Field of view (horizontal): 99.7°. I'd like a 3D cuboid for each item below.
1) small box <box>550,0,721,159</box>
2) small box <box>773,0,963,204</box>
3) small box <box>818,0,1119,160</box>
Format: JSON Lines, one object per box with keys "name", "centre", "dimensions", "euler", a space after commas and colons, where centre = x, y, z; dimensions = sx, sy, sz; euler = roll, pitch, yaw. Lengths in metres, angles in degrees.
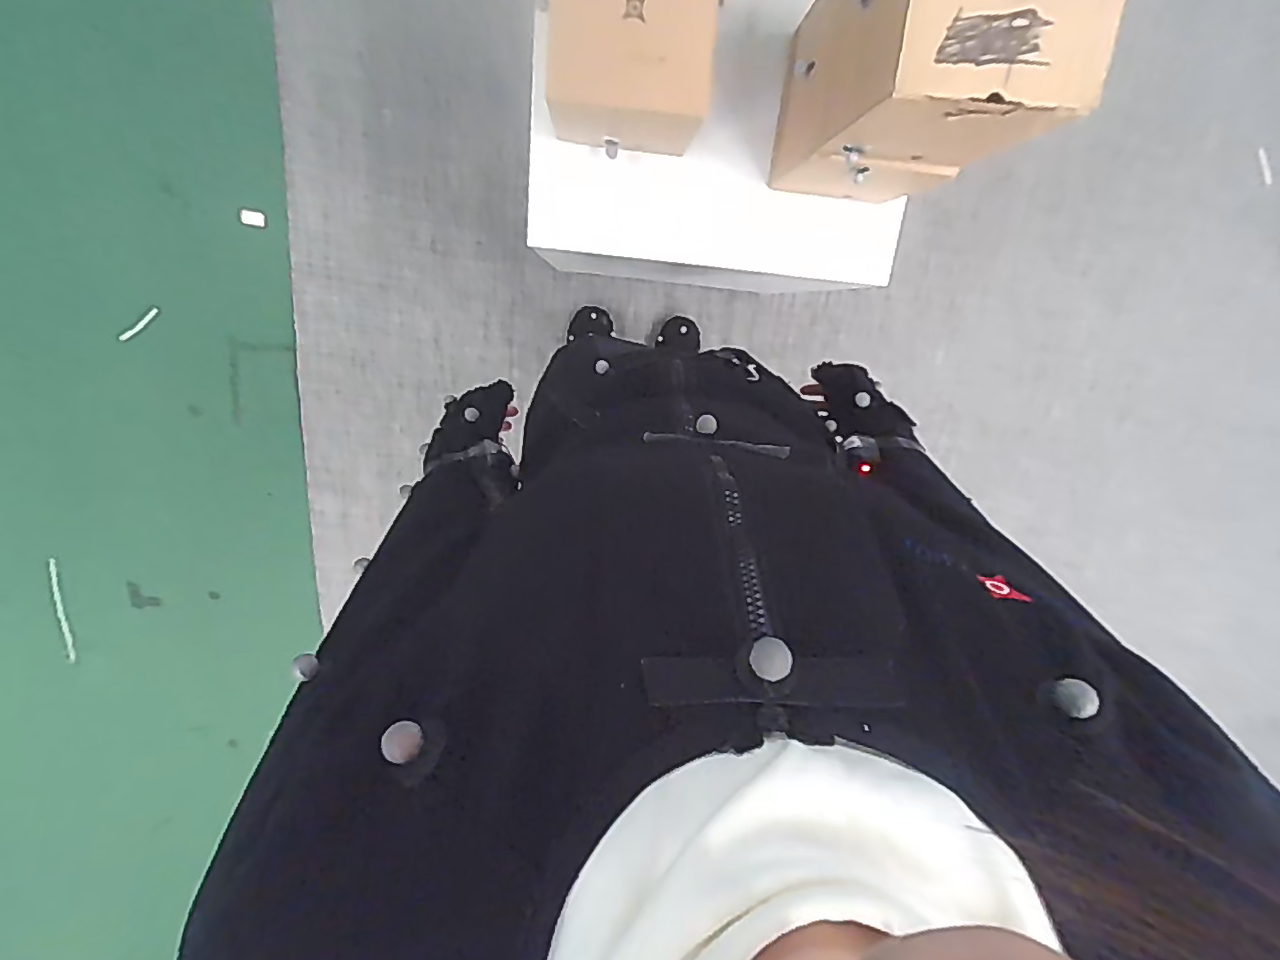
{"name": "small box", "centre": [-0.009, -0.478, 0.596], "dimensions": [0.168, 0.176, 0.179], "euler": [3, 109, -4]}
{"name": "small box", "centre": [0.264, -0.438, 0.624], "dimensions": [0.168, 0.176, 0.179], "euler": [5, 107, -4]}
{"name": "small box", "centre": [0.268, -0.395, 0.465], "dimensions": [0.168, 0.176, 0.179], "euler": [2, 107, -4]}
